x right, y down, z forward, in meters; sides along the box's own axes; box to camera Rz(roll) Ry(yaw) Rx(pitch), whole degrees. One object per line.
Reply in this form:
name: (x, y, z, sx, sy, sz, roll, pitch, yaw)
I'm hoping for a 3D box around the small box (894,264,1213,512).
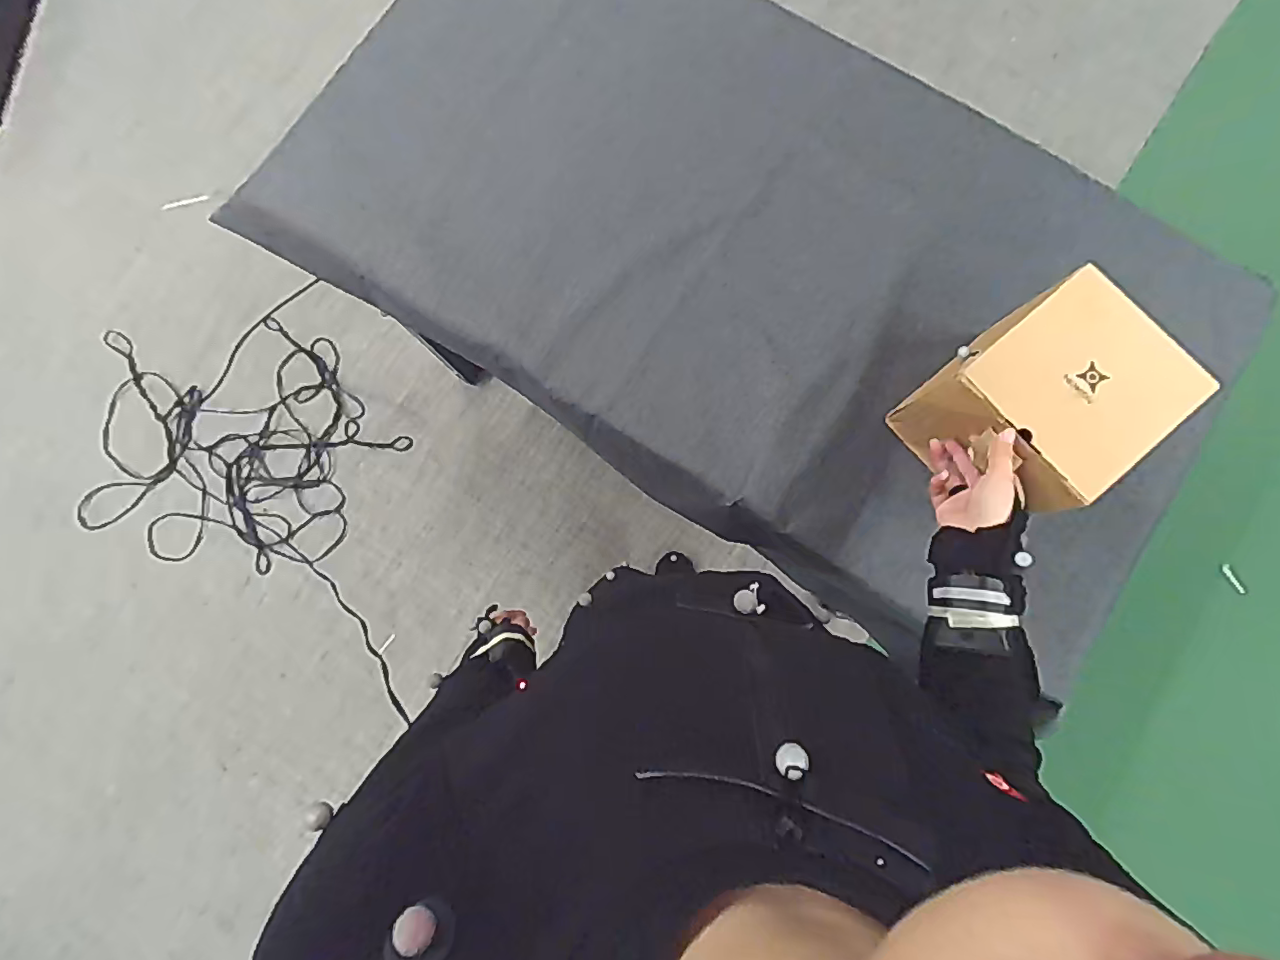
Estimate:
small box: (0.417, -0.083, 0.582, 0.179, 0.176, 0.168, -41, 83, -4)
